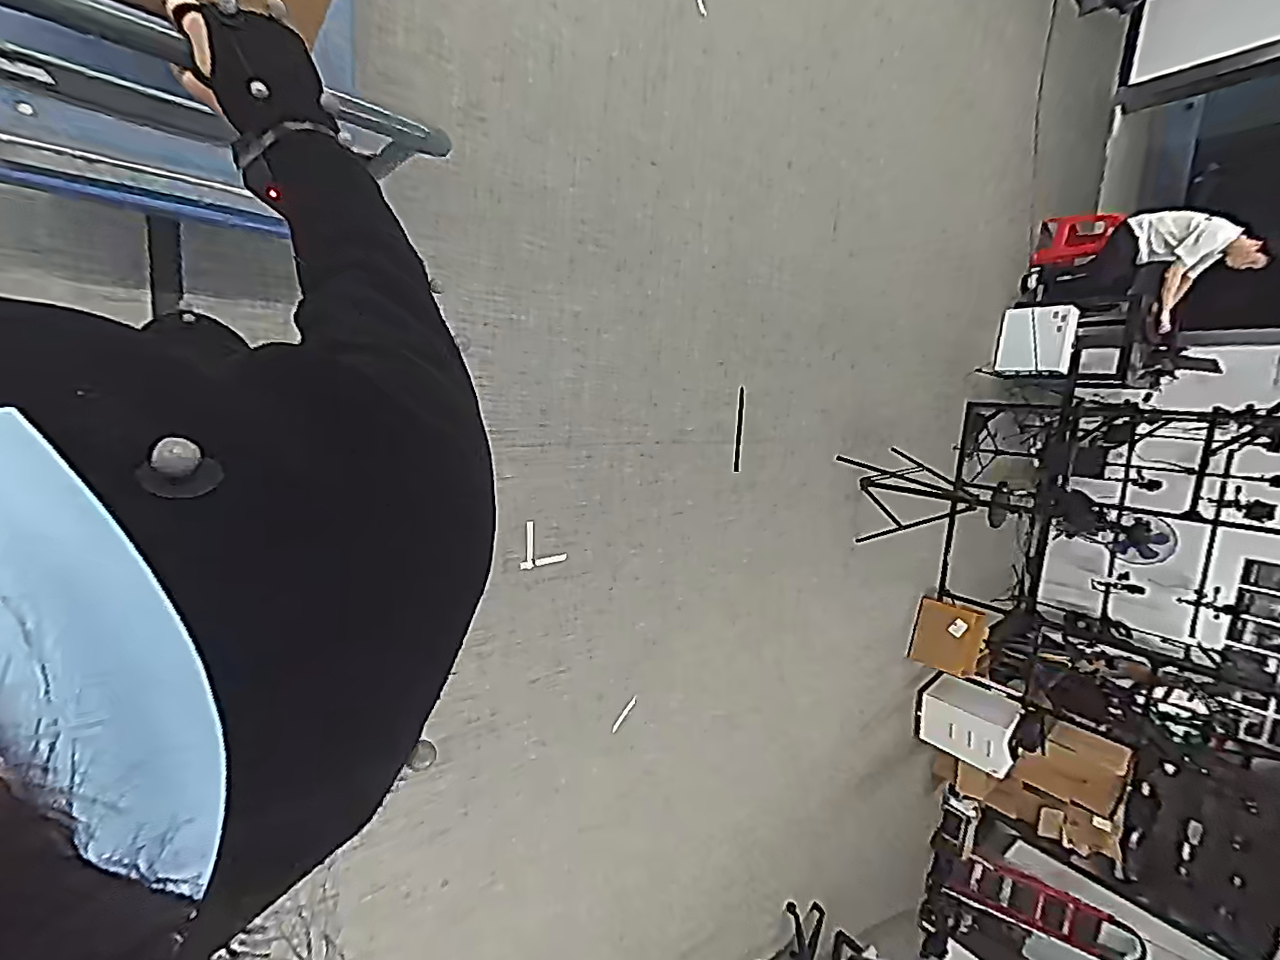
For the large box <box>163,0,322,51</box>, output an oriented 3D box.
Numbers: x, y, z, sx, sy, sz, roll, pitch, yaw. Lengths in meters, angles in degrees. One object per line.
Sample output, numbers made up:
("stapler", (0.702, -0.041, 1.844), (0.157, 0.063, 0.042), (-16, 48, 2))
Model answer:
("large box", (-0.690, -0.920, 0.766), (0.408, 0.320, 0.320), (-2, 100, -39))
